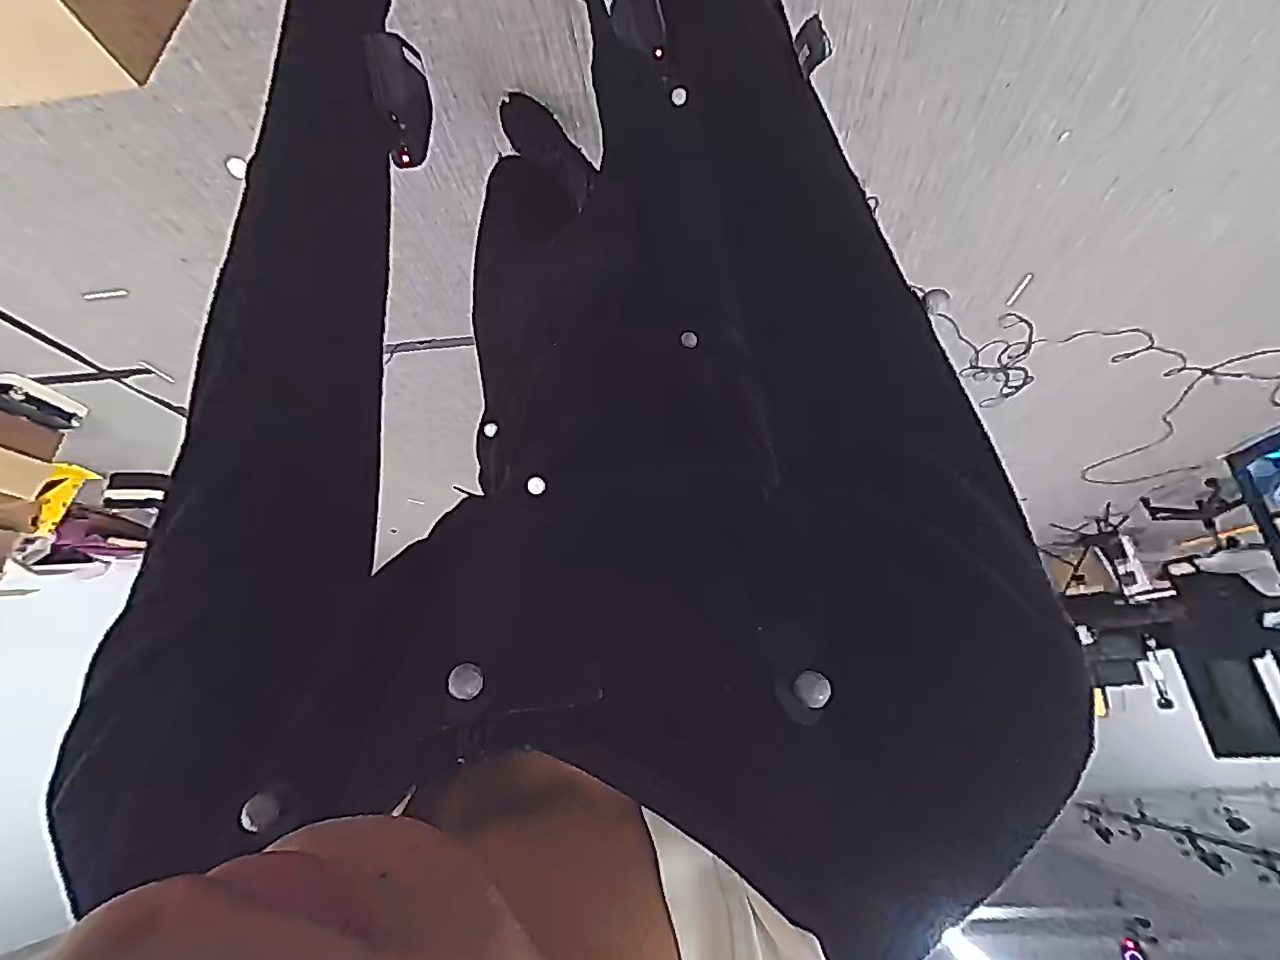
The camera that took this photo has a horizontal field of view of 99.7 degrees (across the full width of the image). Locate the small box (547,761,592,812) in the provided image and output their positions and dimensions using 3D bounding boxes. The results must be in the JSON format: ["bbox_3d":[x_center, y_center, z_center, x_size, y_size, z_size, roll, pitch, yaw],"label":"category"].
[{"bbox_3d":[-0.296,1.306,2.310,0.168,0.176,0.179,-3,157,1],"label":"small box"}]
